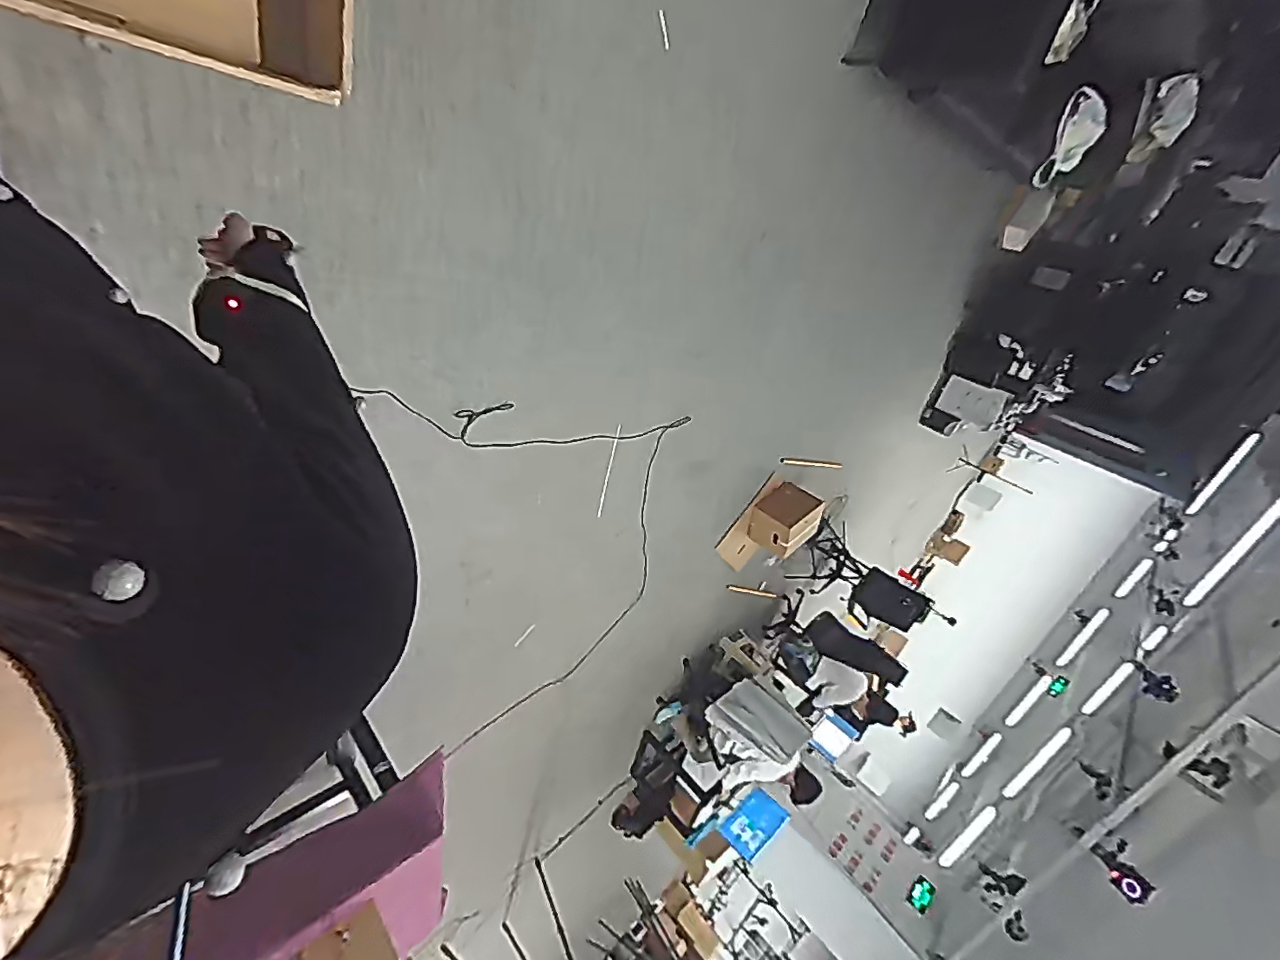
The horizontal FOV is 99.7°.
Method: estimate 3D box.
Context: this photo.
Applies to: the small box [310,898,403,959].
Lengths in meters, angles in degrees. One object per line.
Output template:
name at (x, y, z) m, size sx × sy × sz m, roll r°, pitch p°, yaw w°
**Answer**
small box at (-0.728, 1.239, 1.385) m, size 0.179 × 0.176 × 0.168 m, roll -15°, pitch 131°, yaw -42°
